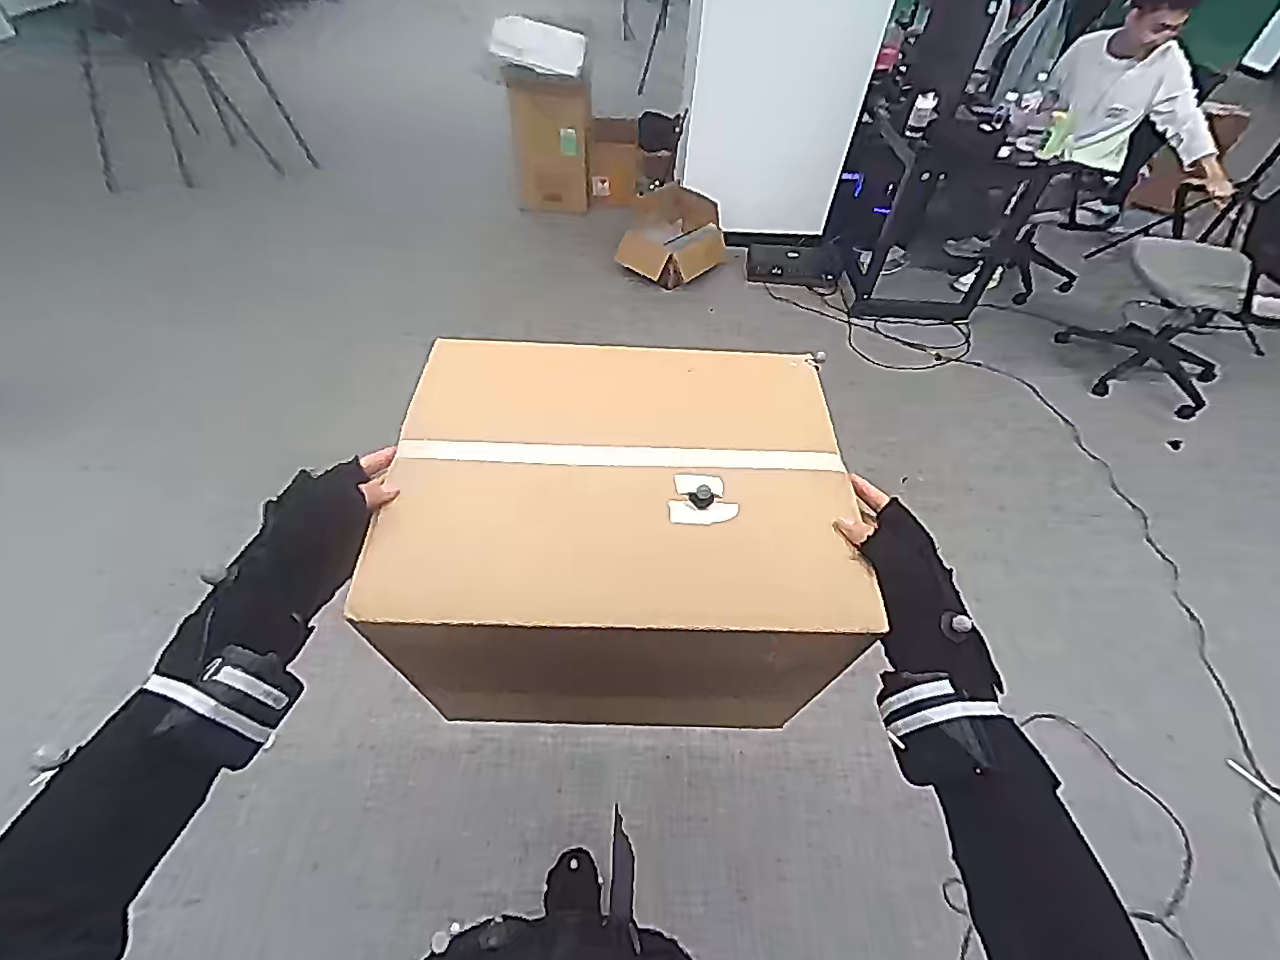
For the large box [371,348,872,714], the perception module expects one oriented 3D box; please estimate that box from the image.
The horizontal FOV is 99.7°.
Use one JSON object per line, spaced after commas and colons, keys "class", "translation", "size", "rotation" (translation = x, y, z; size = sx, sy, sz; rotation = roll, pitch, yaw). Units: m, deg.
{"class": "large box", "translation": [-0.021, 0.073, 0.628], "size": [0.408, 0.320, 0.320], "rotation": [3, 54, -2]}
